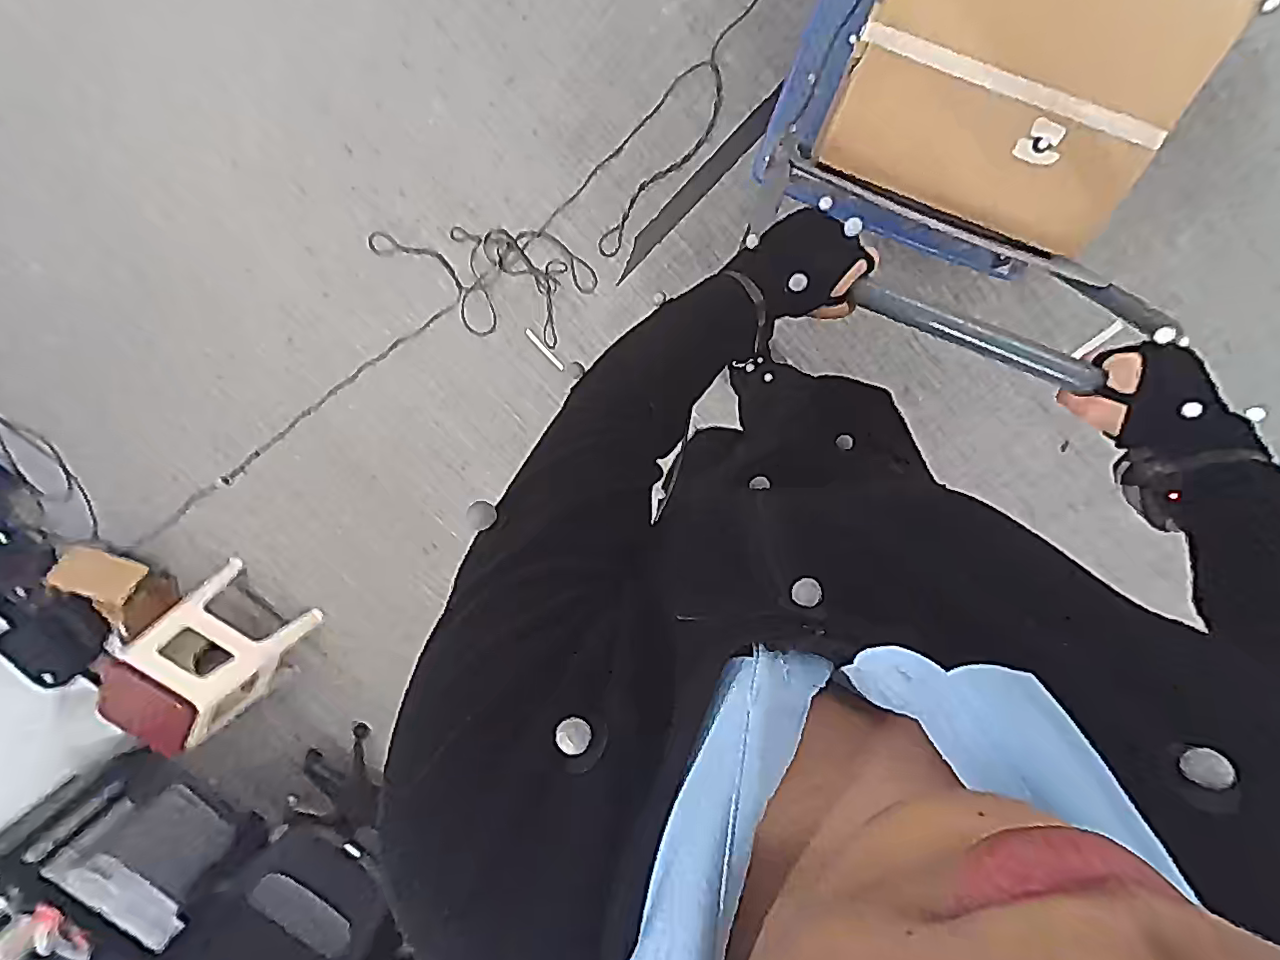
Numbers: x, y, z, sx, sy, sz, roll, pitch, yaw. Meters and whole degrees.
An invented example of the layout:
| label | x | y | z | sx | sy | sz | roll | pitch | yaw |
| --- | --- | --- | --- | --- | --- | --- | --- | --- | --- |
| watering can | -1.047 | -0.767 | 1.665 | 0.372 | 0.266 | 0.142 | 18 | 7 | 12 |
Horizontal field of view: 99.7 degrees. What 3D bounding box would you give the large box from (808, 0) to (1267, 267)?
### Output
| label | x | y | z | sx | sy | sz | roll | pitch | yaw |
| --- | --- | --- | --- | --- | --- | --- | --- | --- | --- |
| large box | 0.518 | -0.568 | 0.826 | 0.408 | 0.320 | 0.320 | 22 | 123 | 0 |
